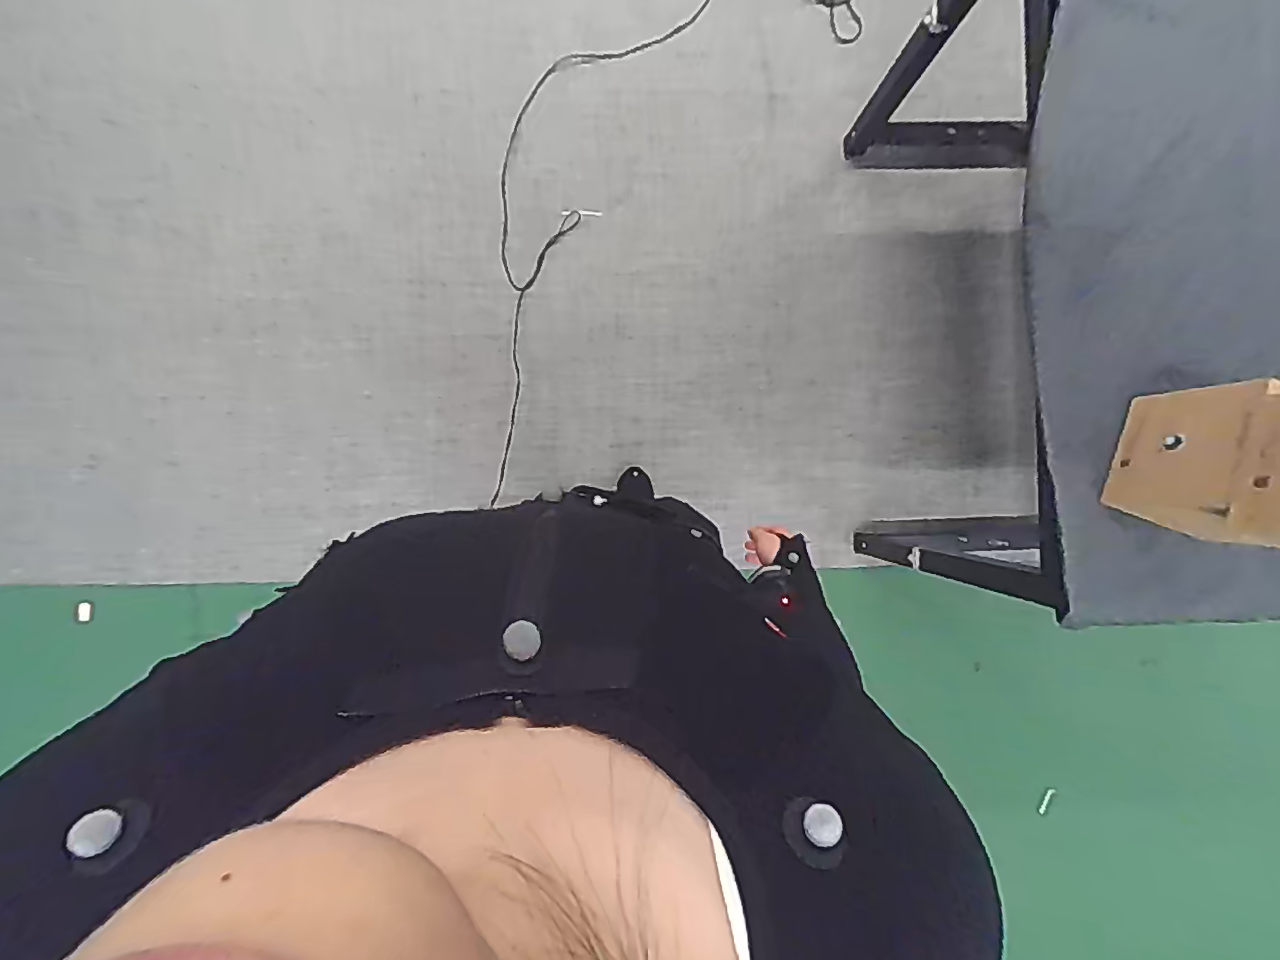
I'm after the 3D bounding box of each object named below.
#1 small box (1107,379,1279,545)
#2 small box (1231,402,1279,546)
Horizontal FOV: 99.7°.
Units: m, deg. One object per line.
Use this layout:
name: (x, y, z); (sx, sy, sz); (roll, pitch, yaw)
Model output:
small box: (0.782, -0.014, 0.713); (0.179, 0.176, 0.168); (19, 88, -4)
small box: (0.781, 0.002, 0.551); (0.179, 0.176, 0.168); (14, 89, -5)
